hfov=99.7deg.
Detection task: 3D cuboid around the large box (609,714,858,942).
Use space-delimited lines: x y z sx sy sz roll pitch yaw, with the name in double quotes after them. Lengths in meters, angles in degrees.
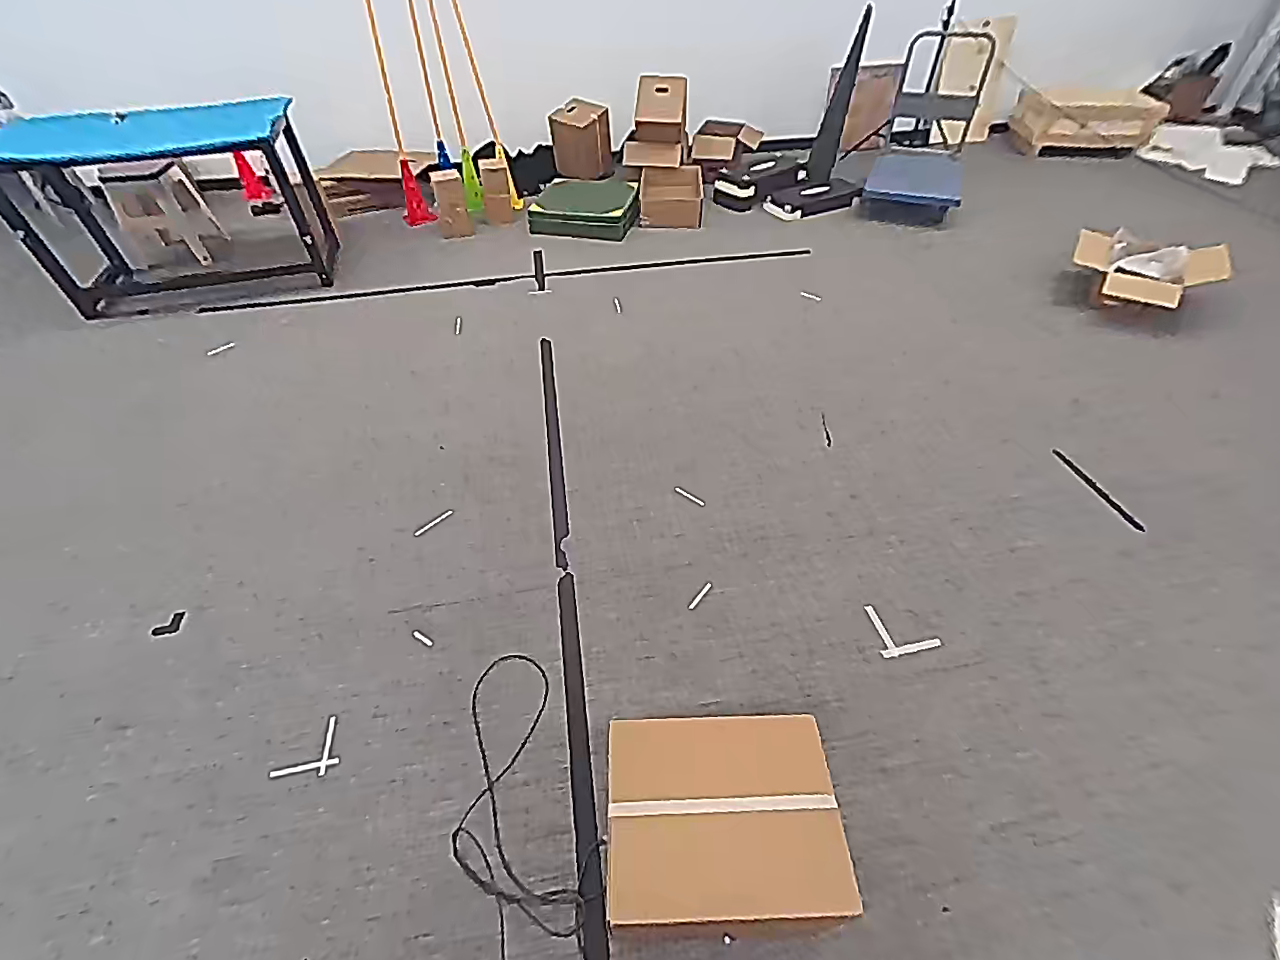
0.145 0.683 1.063 0.408 0.320 0.320 -1 46 -1 "large box"
